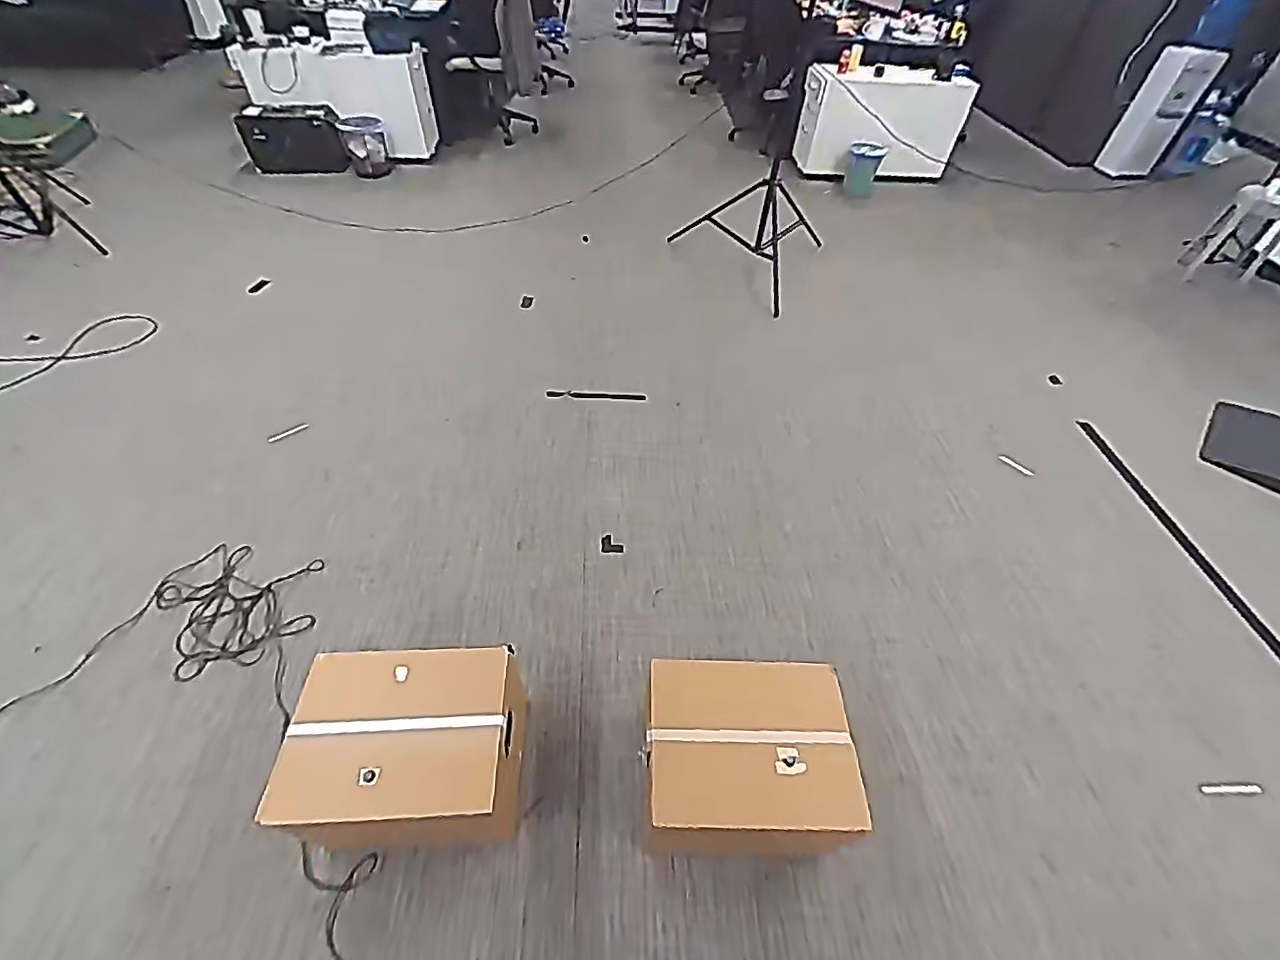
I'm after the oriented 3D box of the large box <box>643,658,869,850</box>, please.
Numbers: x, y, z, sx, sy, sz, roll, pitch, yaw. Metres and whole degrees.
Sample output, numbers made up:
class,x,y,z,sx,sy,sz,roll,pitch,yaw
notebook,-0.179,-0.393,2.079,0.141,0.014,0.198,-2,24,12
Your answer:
class,x,y,z,sx,sy,sz,roll,pitch,yaw
large box,0.217,0.610,1.194,0.408,0.320,0.320,3,49,-2
